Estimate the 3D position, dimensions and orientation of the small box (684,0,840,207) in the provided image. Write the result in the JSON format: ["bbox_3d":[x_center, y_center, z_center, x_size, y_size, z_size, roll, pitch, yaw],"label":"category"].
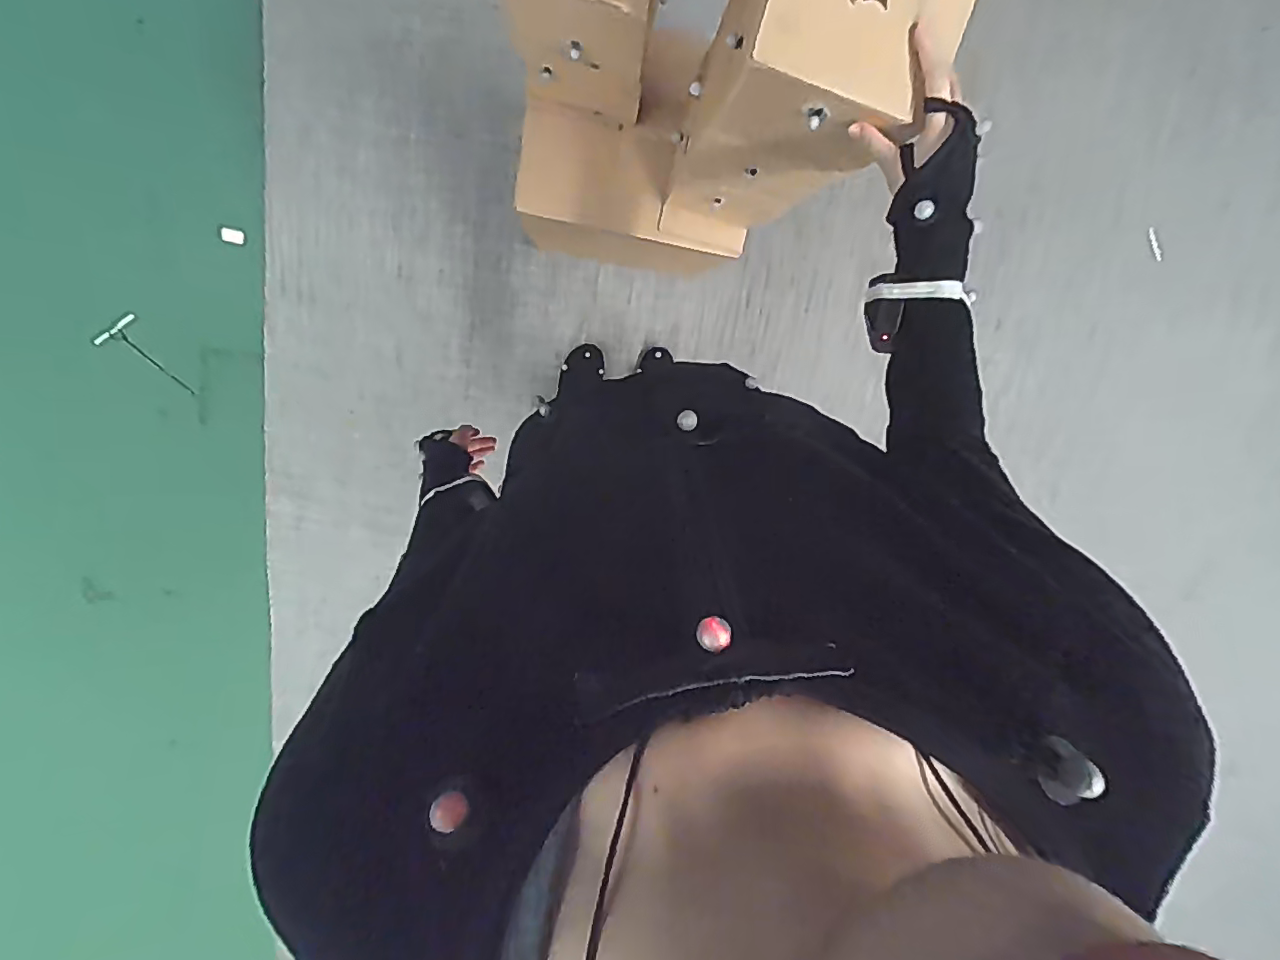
[{"bbox_3d":[0.168,-0.468,0.689,0.179,0.176,0.168,12,102,-6],"label":"small box"}]

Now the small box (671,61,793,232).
[{"bbox_3d":[0.153,-0.505,0.847,0.179,0.176,0.168,12,104,-6],"label":"small box"}]

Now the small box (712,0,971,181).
[{"bbox_3d":[0.186,-0.424,0.533,0.179,0.176,0.168,15,103,-9],"label":"small box"}]
